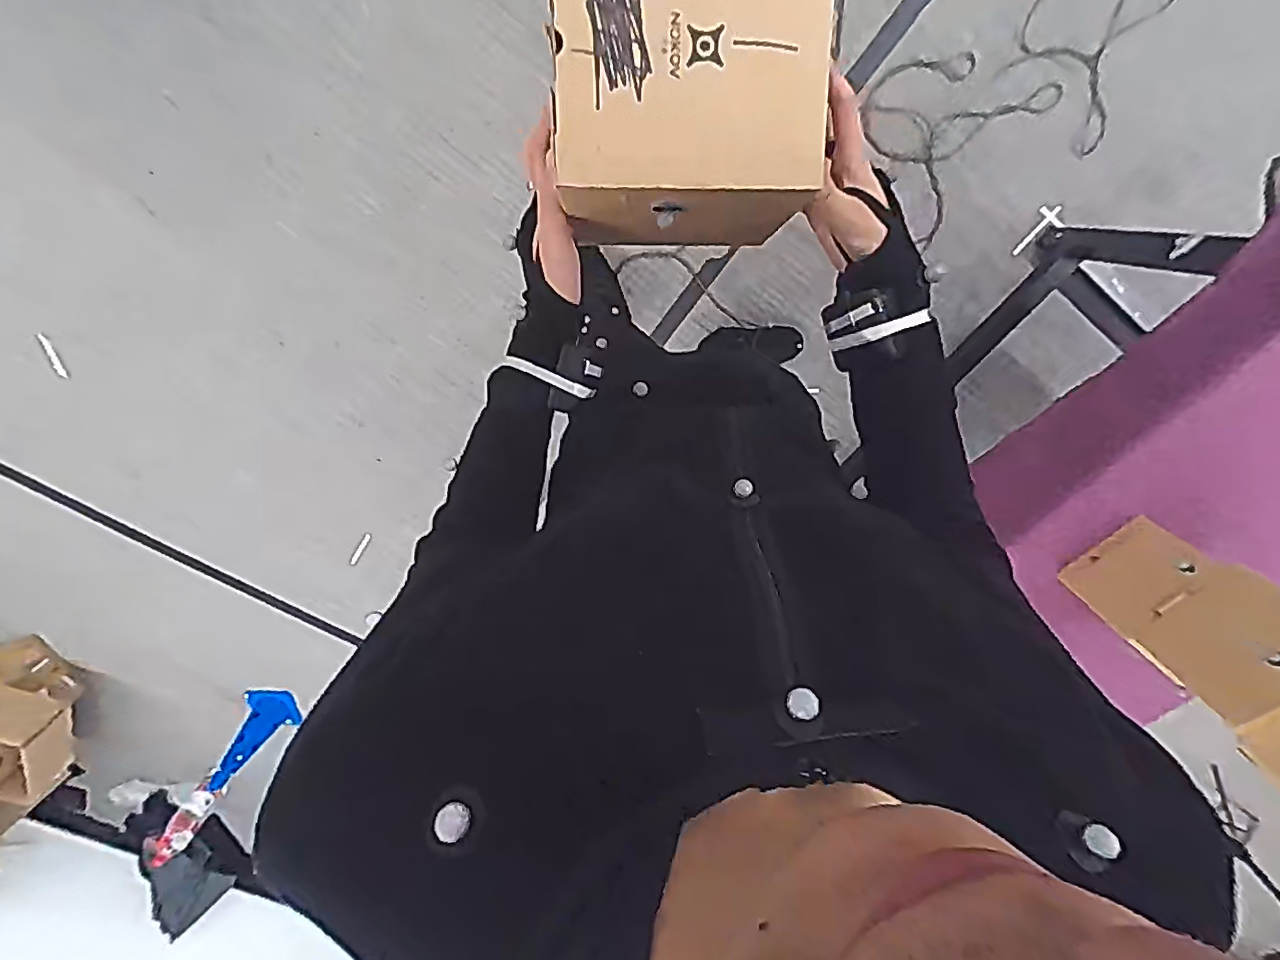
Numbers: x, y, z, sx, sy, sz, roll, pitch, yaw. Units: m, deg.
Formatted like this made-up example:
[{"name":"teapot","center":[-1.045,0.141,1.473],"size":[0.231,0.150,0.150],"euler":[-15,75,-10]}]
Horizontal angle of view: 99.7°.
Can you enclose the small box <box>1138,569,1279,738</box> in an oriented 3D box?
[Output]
[{"name":"small box","center":[0.866,0.256,0.745],"size":[0.168,0.176,0.179],"euler":[35,113,-15]}]

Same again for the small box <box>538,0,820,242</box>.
[{"name":"small box","center":[0.023,-0.287,0.413],"size":[0.179,0.176,0.168],"euler":[-1,102,-2]}]
